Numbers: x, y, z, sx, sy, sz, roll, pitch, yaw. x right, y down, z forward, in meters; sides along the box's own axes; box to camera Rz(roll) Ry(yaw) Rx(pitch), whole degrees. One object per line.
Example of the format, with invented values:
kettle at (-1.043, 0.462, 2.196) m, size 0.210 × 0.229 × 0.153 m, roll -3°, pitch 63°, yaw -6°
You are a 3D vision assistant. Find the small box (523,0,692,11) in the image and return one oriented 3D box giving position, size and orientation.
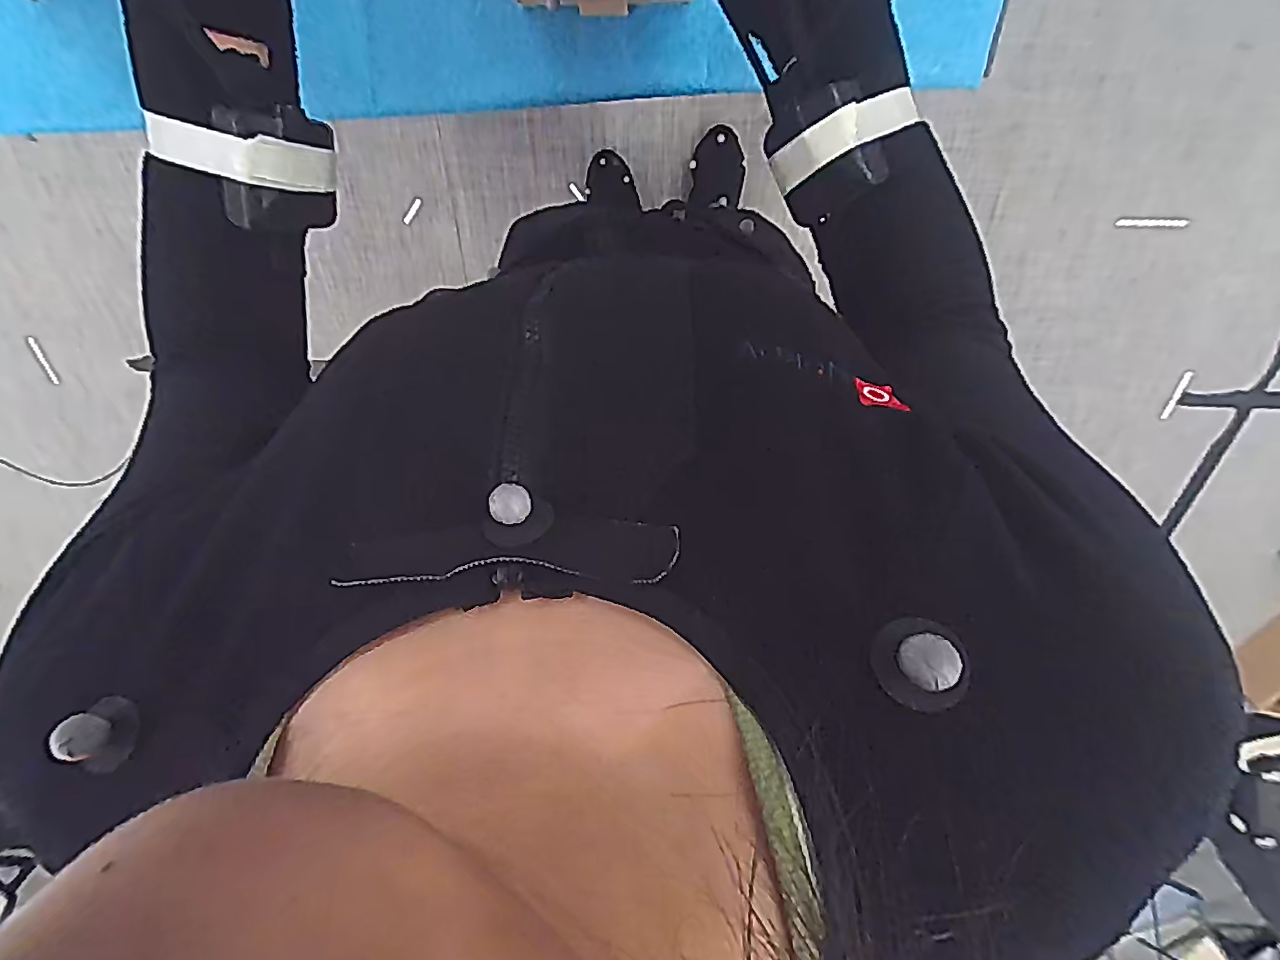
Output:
small box at (-0.037, -0.476, 0.393) m, size 0.168 × 0.176 × 0.179 m, roll 1°, pitch 122°, yaw 3°
